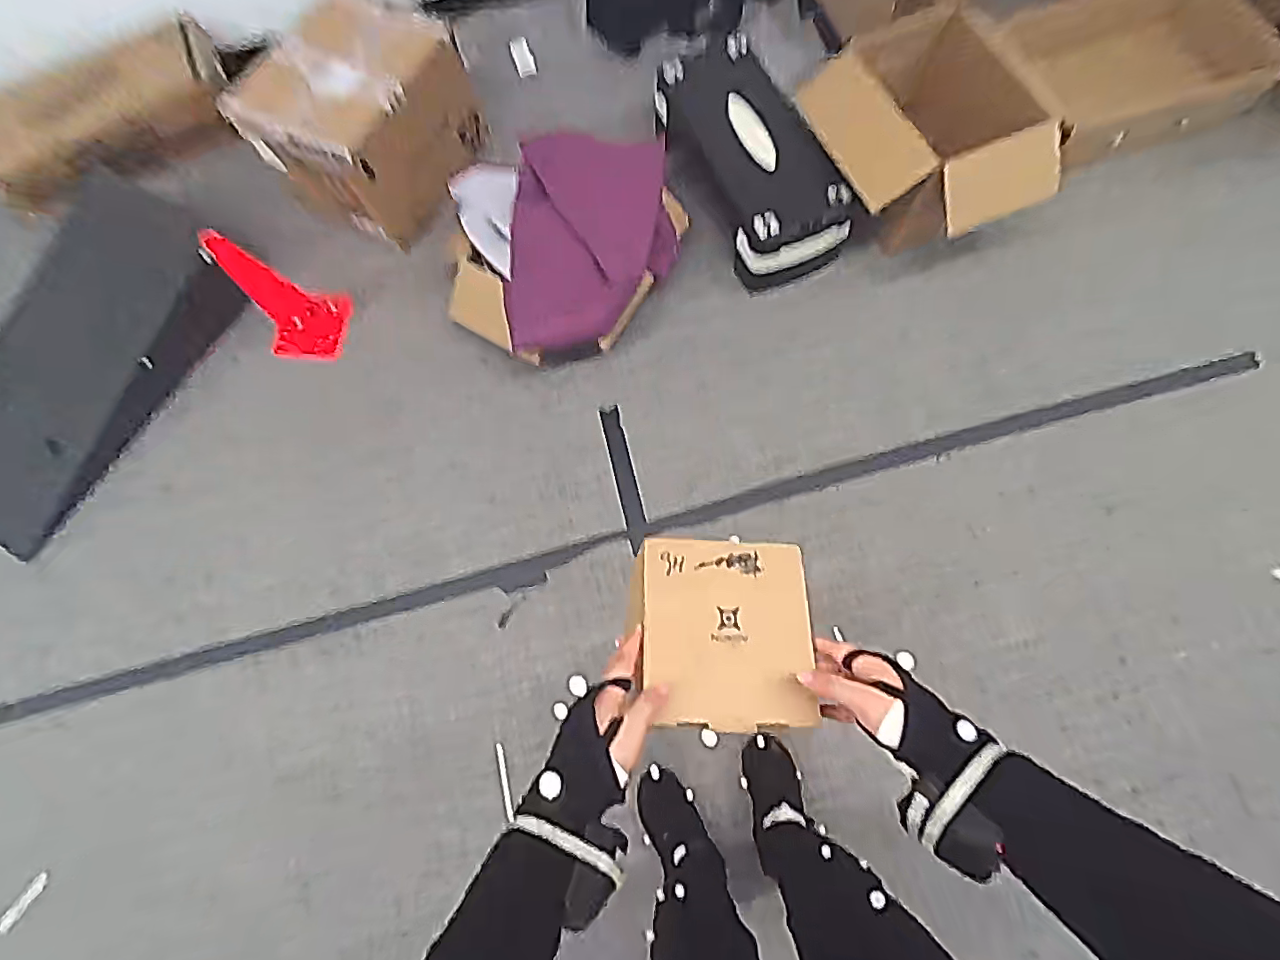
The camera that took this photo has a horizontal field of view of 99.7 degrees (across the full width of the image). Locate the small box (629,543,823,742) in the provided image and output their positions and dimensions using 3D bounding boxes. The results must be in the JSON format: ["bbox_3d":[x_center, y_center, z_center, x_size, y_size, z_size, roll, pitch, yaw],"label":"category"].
[{"bbox_3d":[0.078,0.176,0.578,0.168,0.176,0.179,3,67,-5],"label":"small box"}]
